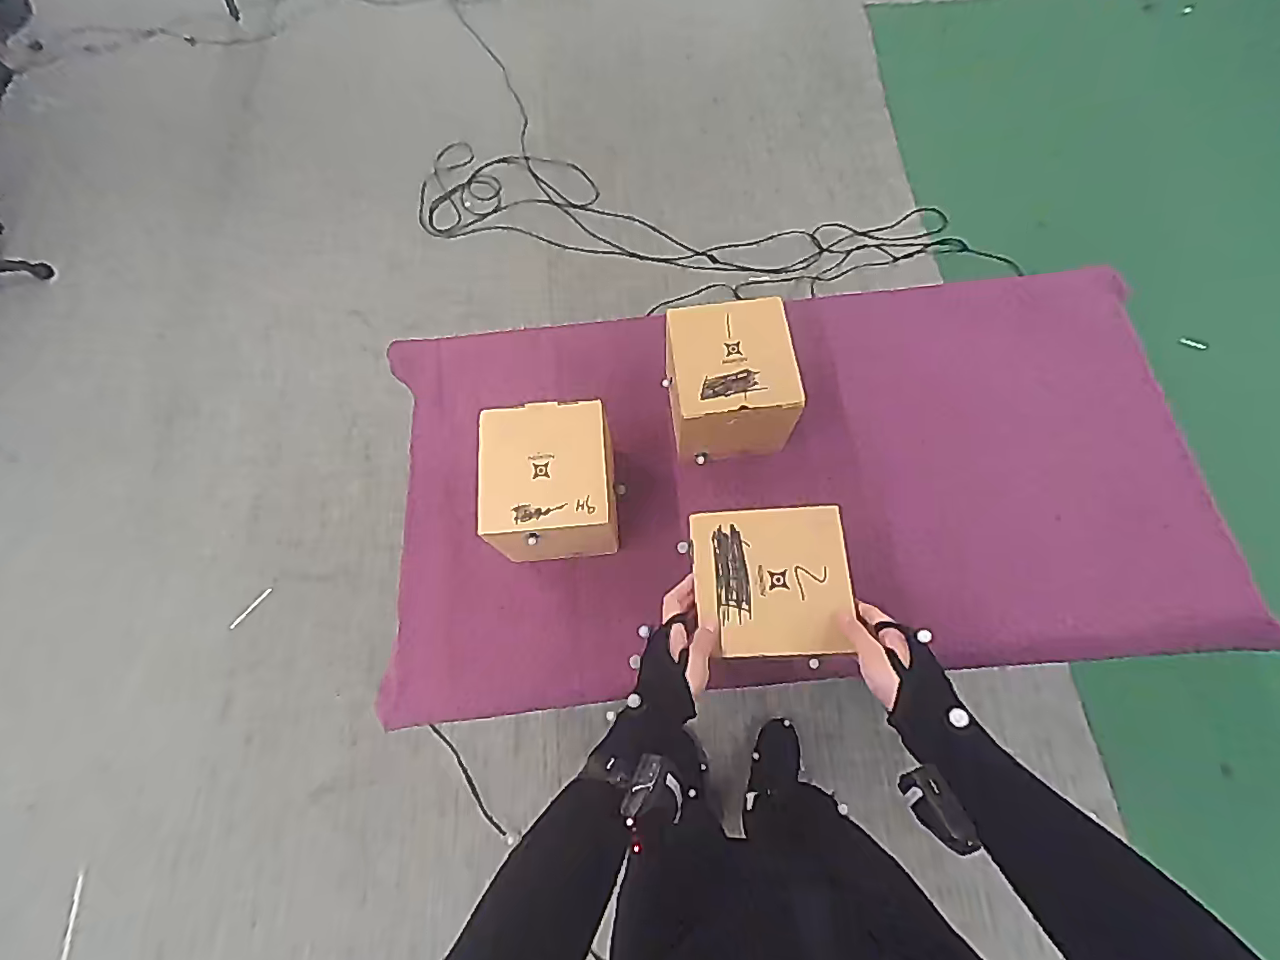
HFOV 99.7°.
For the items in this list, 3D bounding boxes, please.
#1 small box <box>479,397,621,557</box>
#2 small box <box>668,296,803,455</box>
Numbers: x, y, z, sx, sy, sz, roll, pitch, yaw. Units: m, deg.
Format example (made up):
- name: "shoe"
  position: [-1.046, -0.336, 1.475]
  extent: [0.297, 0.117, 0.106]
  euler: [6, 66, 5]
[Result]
- name: "small box"
  position: [-0.119, 0.002, 0.772]
  extent: [0.168, 0.176, 0.179]
  euler: [-5, 69, 2]
- name: "small box"
  position: [0.134, -0.146, 0.816]
  extent: [0.168, 0.176, 0.179]
  euler: [-6, 69, 1]
